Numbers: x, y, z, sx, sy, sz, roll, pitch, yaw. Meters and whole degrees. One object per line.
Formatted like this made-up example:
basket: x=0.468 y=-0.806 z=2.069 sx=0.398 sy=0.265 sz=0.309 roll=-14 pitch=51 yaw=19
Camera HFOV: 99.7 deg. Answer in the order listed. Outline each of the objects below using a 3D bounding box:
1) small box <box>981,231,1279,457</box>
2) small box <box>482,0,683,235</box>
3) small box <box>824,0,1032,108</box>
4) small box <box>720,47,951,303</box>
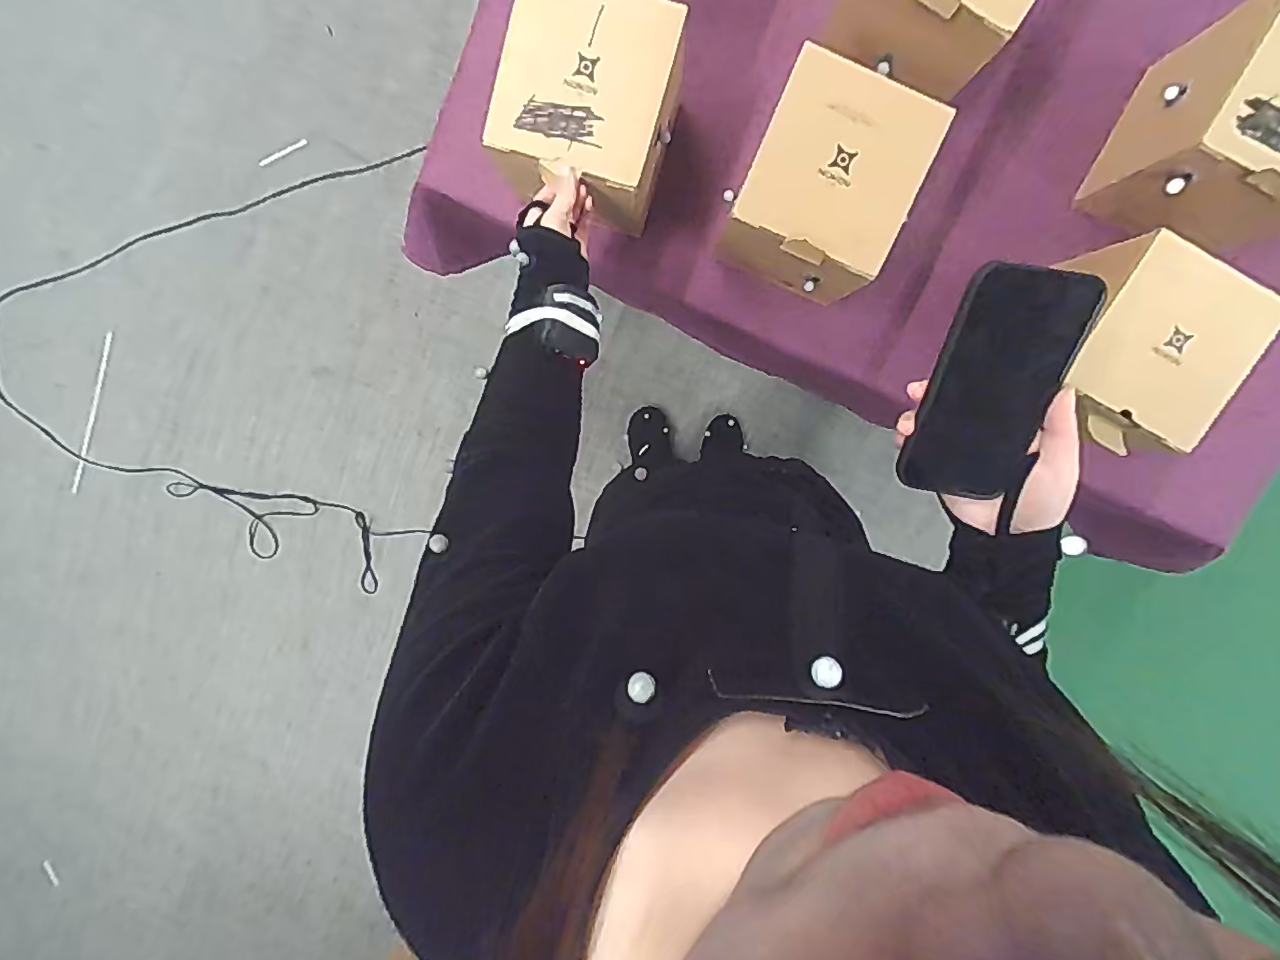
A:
small box: x=0.549 y=-0.149 z=0.631 sx=0.168 sy=0.176 sz=0.179 roll=28 pitch=99 yaw=-2
small box: x=-0.056 y=-0.405 z=0.614 sx=0.168 sy=0.176 sz=0.179 roll=17 pitch=98 yaw=-1
small box: x=0.325 y=-0.544 z=0.577 sx=0.168 sy=0.176 sz=0.179 roll=30 pitch=99 yaw=-2
small box: x=0.201 y=-0.323 z=0.618 sx=0.168 sy=0.176 sz=0.179 roll=23 pitch=98 yaw=-2
